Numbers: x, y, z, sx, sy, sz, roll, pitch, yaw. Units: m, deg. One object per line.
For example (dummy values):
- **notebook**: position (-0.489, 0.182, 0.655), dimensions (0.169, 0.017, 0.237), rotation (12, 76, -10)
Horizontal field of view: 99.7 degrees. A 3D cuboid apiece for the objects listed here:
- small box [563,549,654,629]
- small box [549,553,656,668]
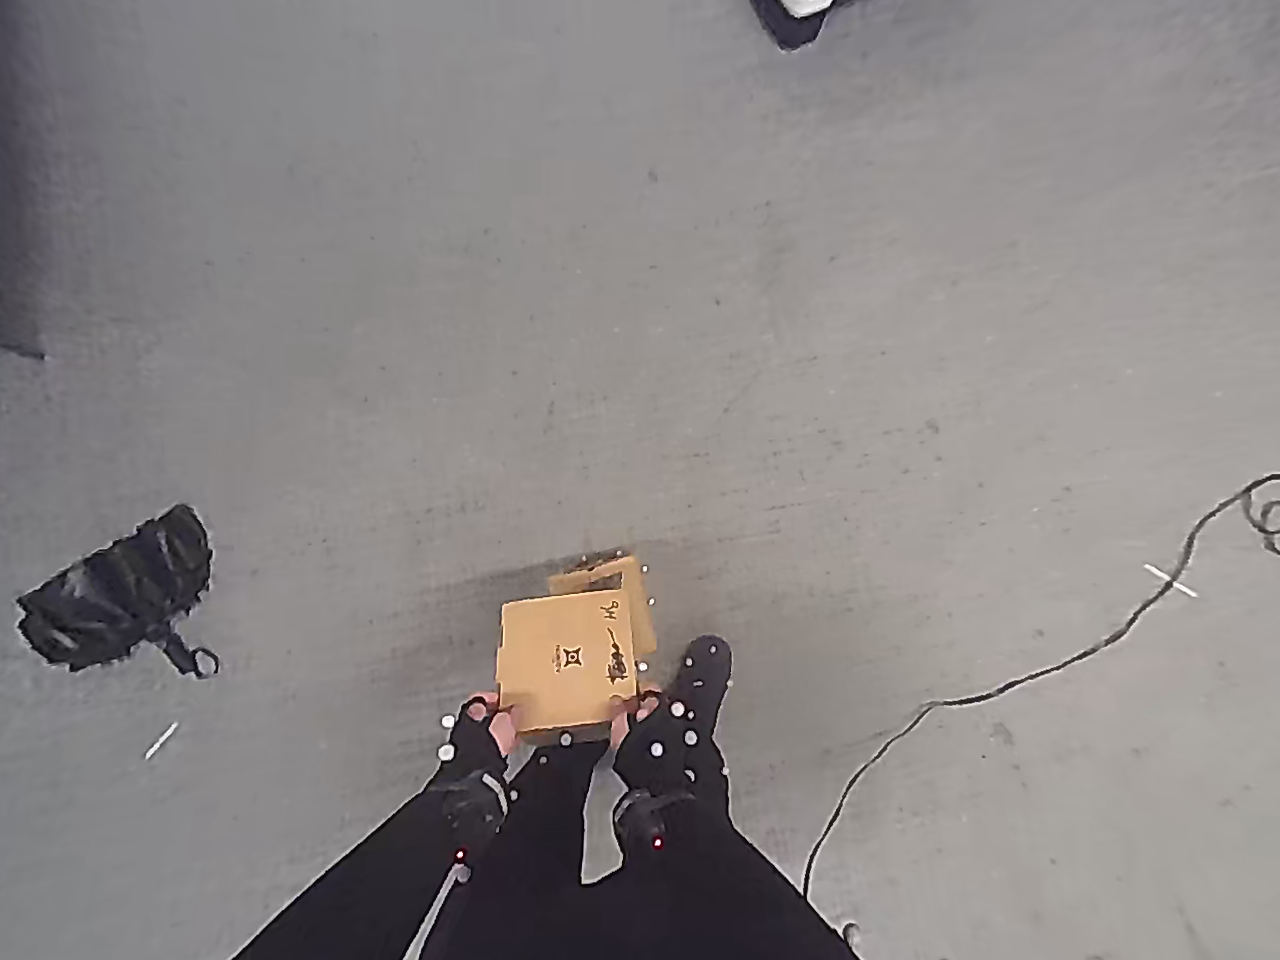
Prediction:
- **small box**: position (-0.068, 0.259, 1.226), dimensions (0.168, 0.176, 0.179), rotation (-14, 85, -1)
- **small box**: position (-0.070, 0.247, 1.062), dimensions (0.168, 0.176, 0.179), rotation (-14, 84, -1)
